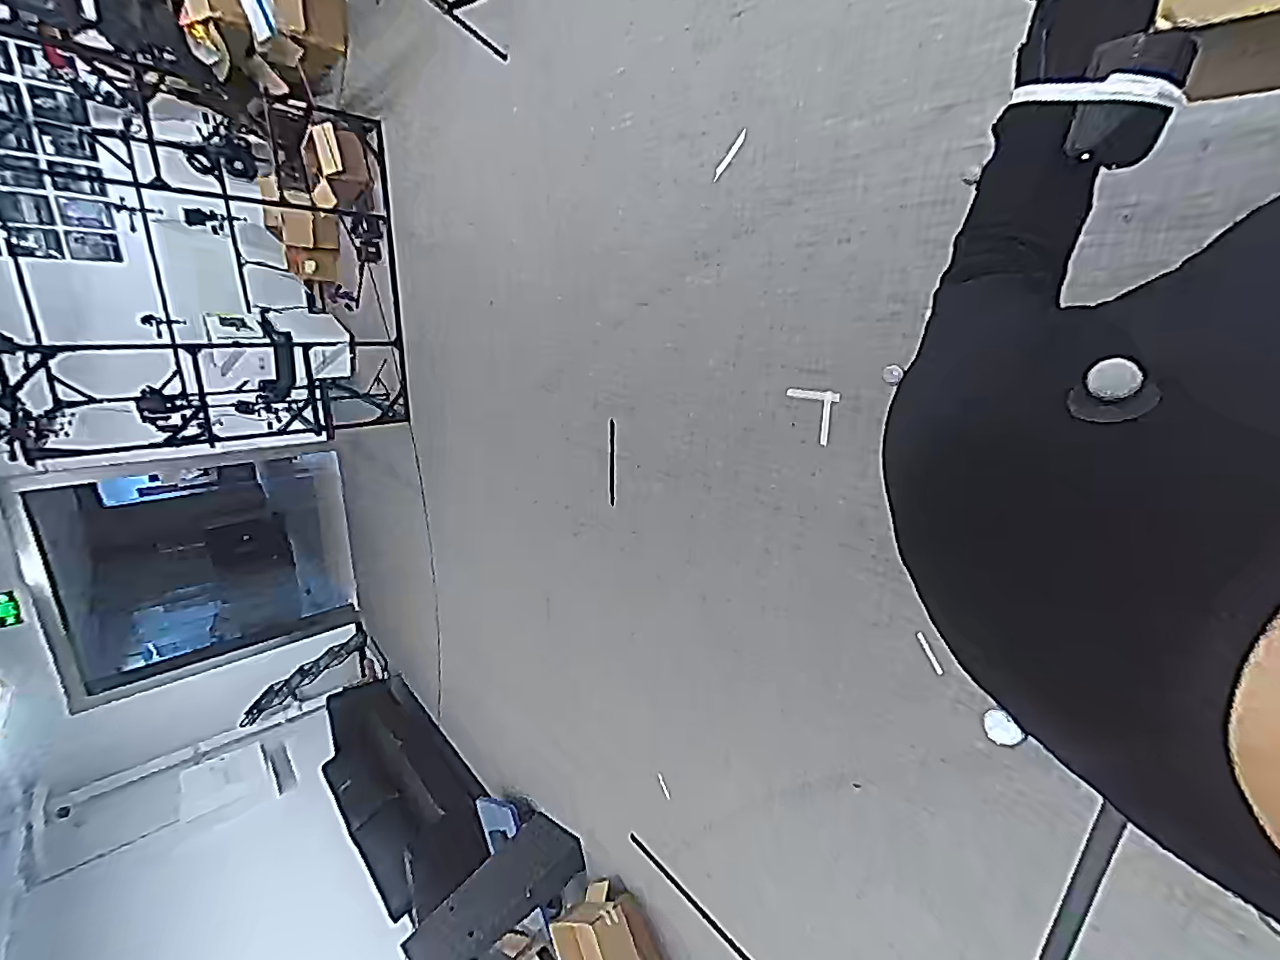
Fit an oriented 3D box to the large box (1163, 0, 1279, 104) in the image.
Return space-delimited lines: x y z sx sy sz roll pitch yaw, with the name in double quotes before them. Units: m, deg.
"large box" 0.557 -0.415 0.245 0.408 0.320 0.320 18 122 41
